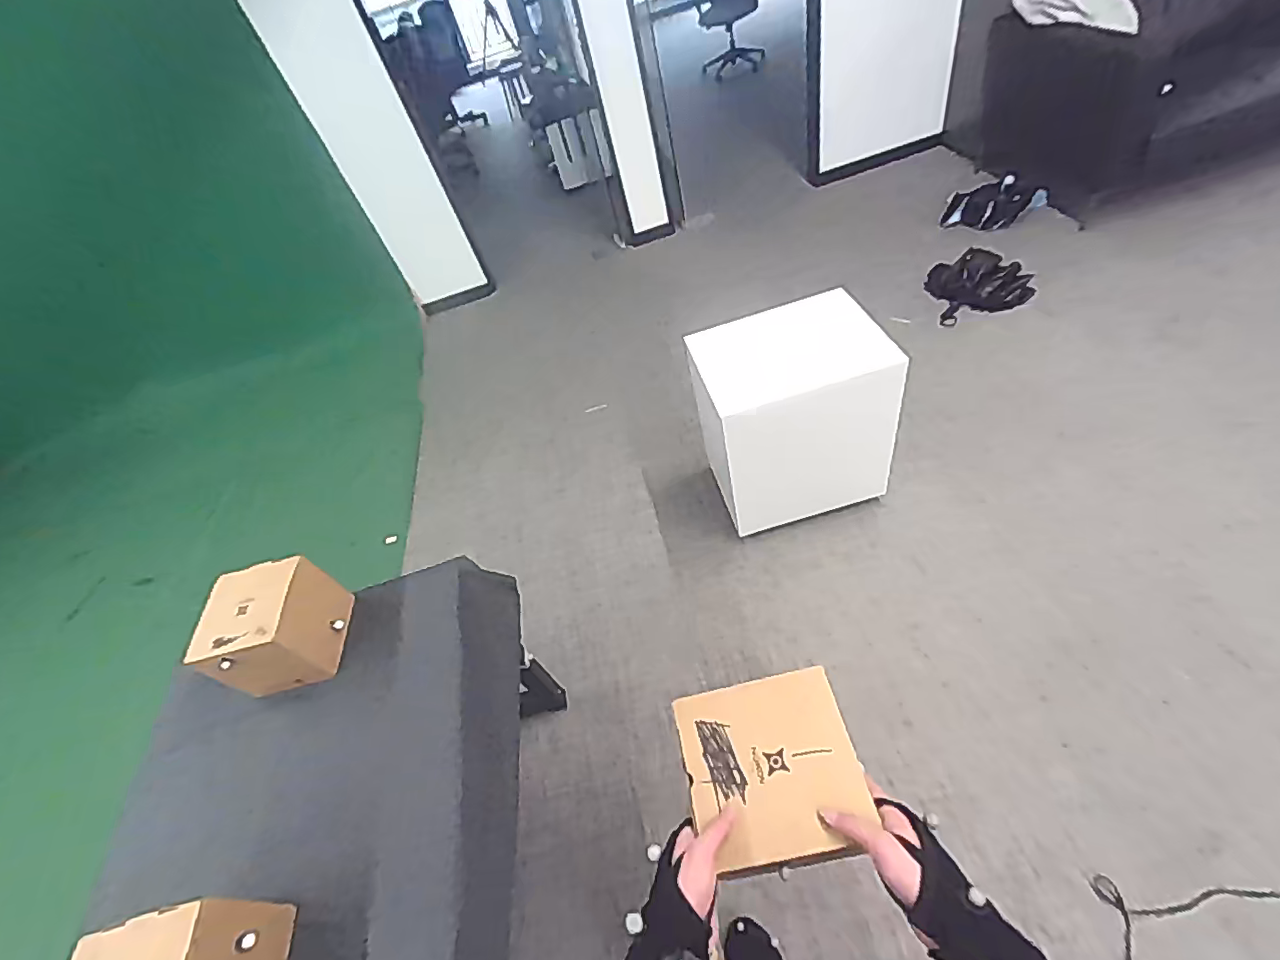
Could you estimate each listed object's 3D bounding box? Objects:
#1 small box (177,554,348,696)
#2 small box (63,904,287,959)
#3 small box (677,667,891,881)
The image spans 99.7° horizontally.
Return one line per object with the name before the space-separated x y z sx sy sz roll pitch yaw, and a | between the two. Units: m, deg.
small box | -0.668 0.266 0.986 0.168 0.176 0.179 -14 48 3
small box | -0.560 0.635 0.639 0.168 0.176 0.179 -19 49 1
small box | 0.153 0.334 0.606 0.179 0.176 0.168 -14 51 4
